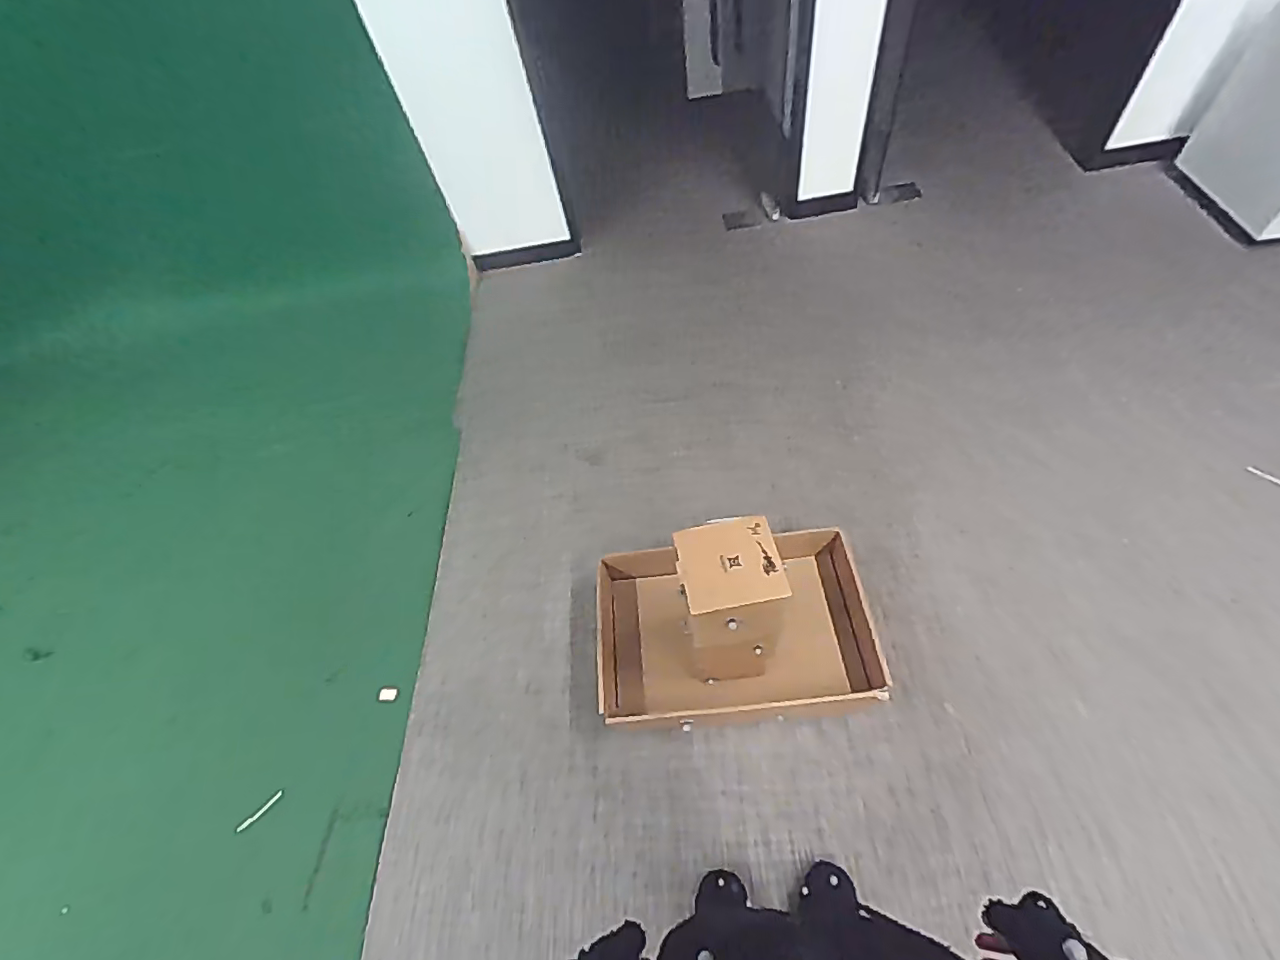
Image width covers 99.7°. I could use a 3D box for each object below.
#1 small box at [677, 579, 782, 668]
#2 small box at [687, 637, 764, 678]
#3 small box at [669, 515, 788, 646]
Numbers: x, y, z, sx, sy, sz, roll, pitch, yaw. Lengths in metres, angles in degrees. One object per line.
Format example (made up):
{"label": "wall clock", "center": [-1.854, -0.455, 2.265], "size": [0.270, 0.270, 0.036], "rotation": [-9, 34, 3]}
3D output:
{"label": "small box", "center": [0.180, 0.278, 1.133], "size": [0.179, 0.176, 0.168], "rotation": [-13, 55, 0]}
{"label": "small box", "center": [0.197, 0.364, 1.288], "size": [0.168, 0.176, 0.179], "rotation": [-8, 55, 4]}
{"label": "small box", "center": [0.162, 0.194, 1.015], "size": [0.179, 0.176, 0.168], "rotation": [-13, 52, -1]}
